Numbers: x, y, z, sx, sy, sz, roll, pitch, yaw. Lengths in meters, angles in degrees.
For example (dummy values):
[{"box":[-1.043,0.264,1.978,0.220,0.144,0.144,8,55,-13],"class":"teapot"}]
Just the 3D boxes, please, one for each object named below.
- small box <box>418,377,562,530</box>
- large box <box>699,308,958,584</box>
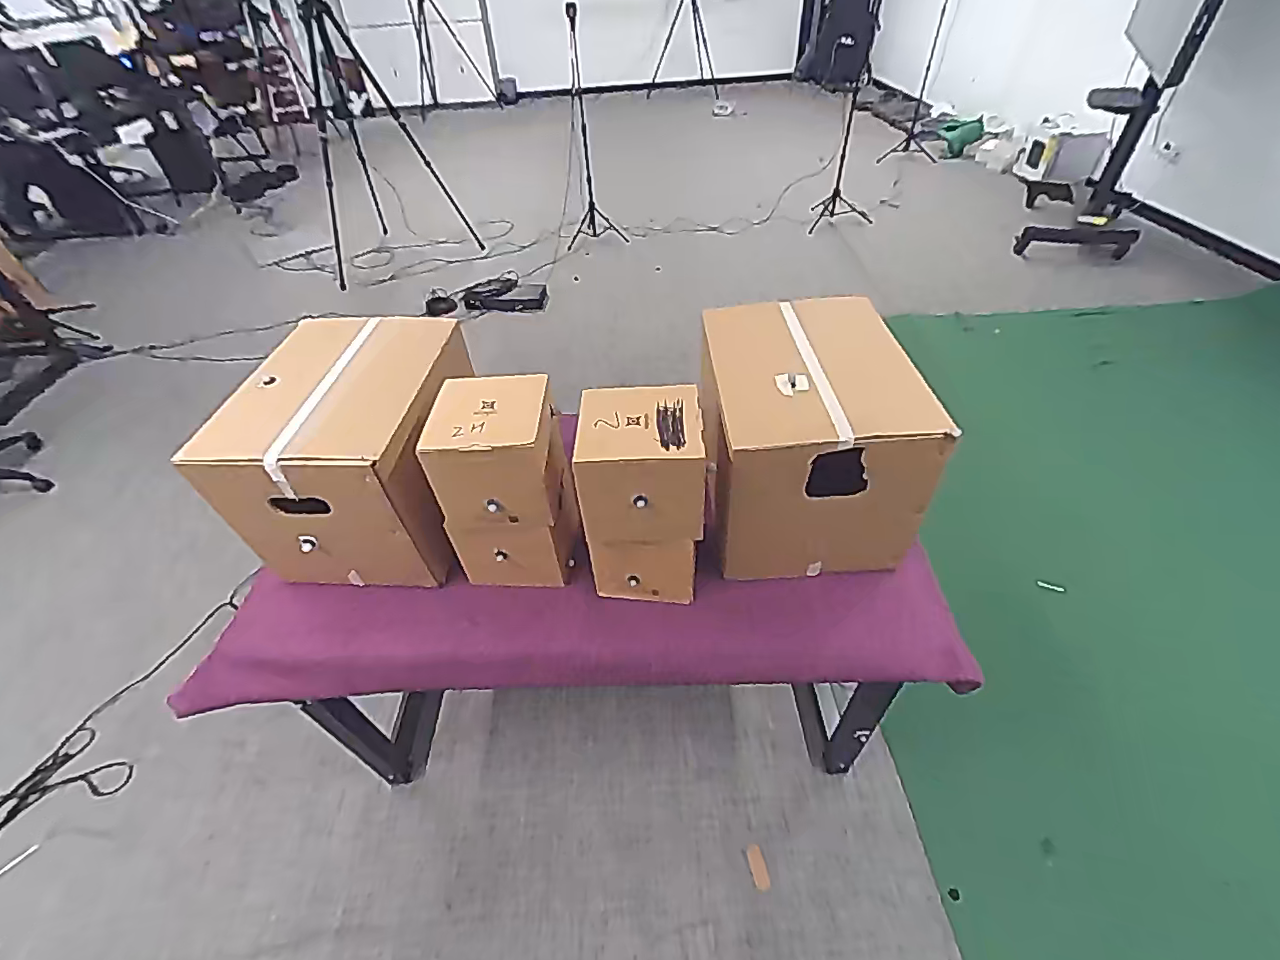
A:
[{"box":[-0.219,-0.042,0.847,0.168,0.176,0.179,-3,44,2],"class":"small box"},{"box":[0.285,-0.070,0.983,0.320,0.320,0.408,-5,45,2],"class":"large box"}]
